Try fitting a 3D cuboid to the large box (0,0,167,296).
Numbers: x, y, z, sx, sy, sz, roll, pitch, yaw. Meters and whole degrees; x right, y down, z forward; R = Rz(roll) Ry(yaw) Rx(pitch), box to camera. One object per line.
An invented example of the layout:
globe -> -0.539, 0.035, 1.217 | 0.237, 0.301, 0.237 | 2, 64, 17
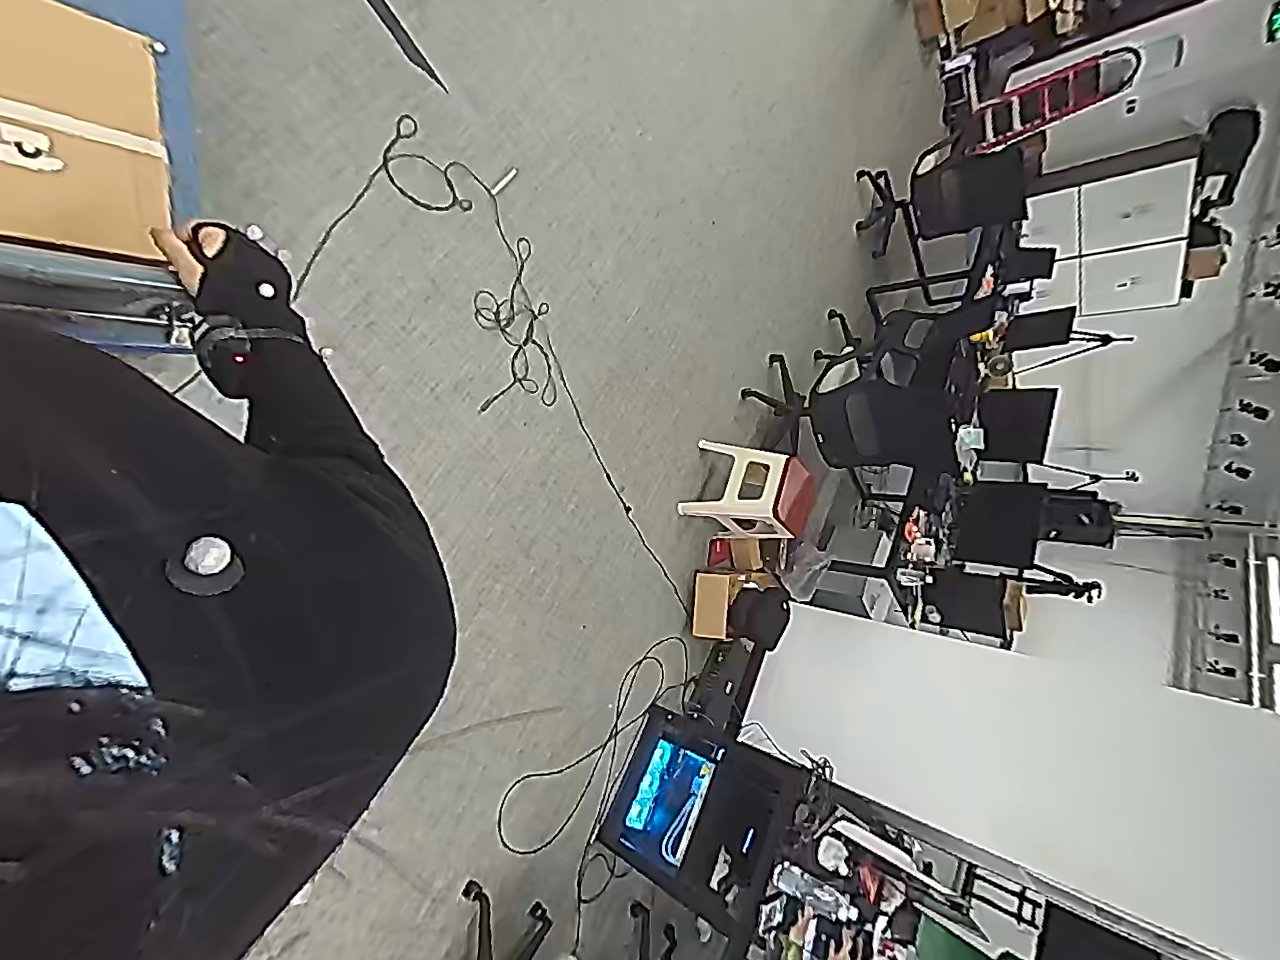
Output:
large box -> -0.951, -0.462, 0.736 | 0.408, 0.320, 0.320 | -7, 99, -49
